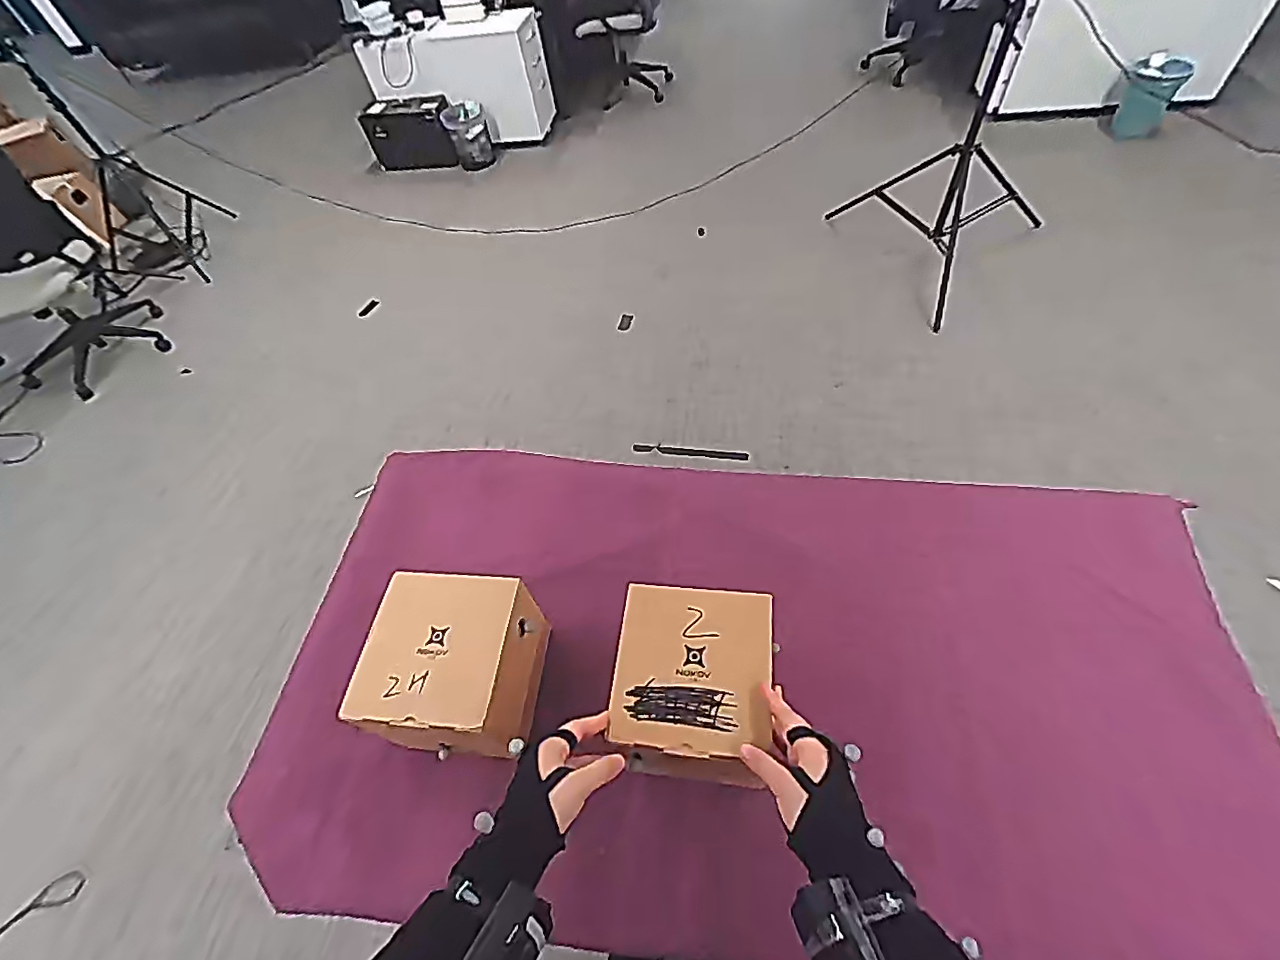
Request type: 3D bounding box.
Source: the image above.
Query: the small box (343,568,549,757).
[{"bbox_3d":[-0.220,0.229,0.674,0.168,0.176,0.179,1,55,8],"label":"small box"}]
